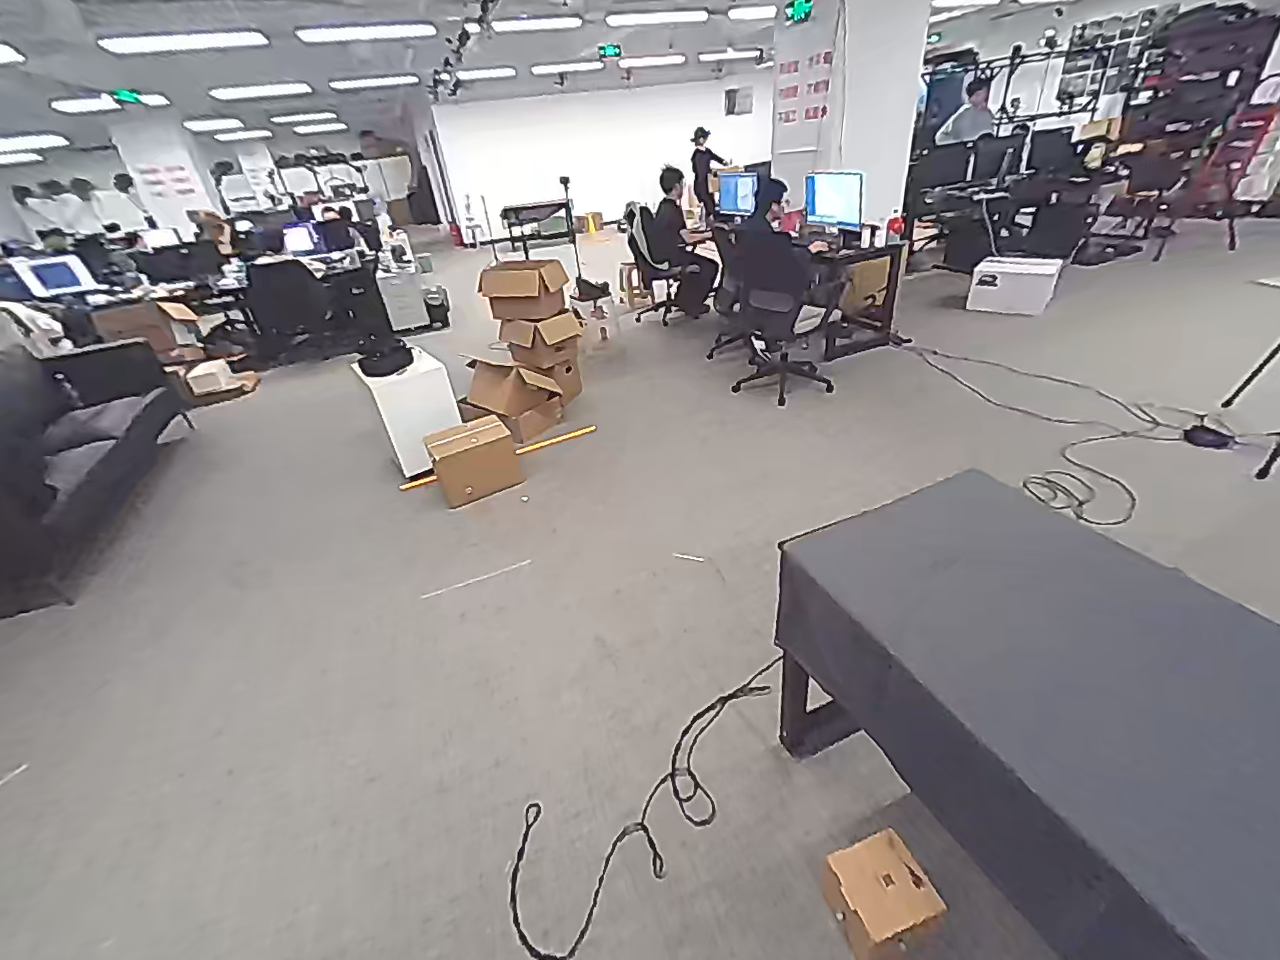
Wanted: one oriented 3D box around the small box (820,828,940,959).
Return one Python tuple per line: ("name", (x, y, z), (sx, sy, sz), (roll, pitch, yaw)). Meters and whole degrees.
("small box", (0.509, 0.909, 1.173), (0.179, 0.176, 0.168), (-14, 32, -12))
